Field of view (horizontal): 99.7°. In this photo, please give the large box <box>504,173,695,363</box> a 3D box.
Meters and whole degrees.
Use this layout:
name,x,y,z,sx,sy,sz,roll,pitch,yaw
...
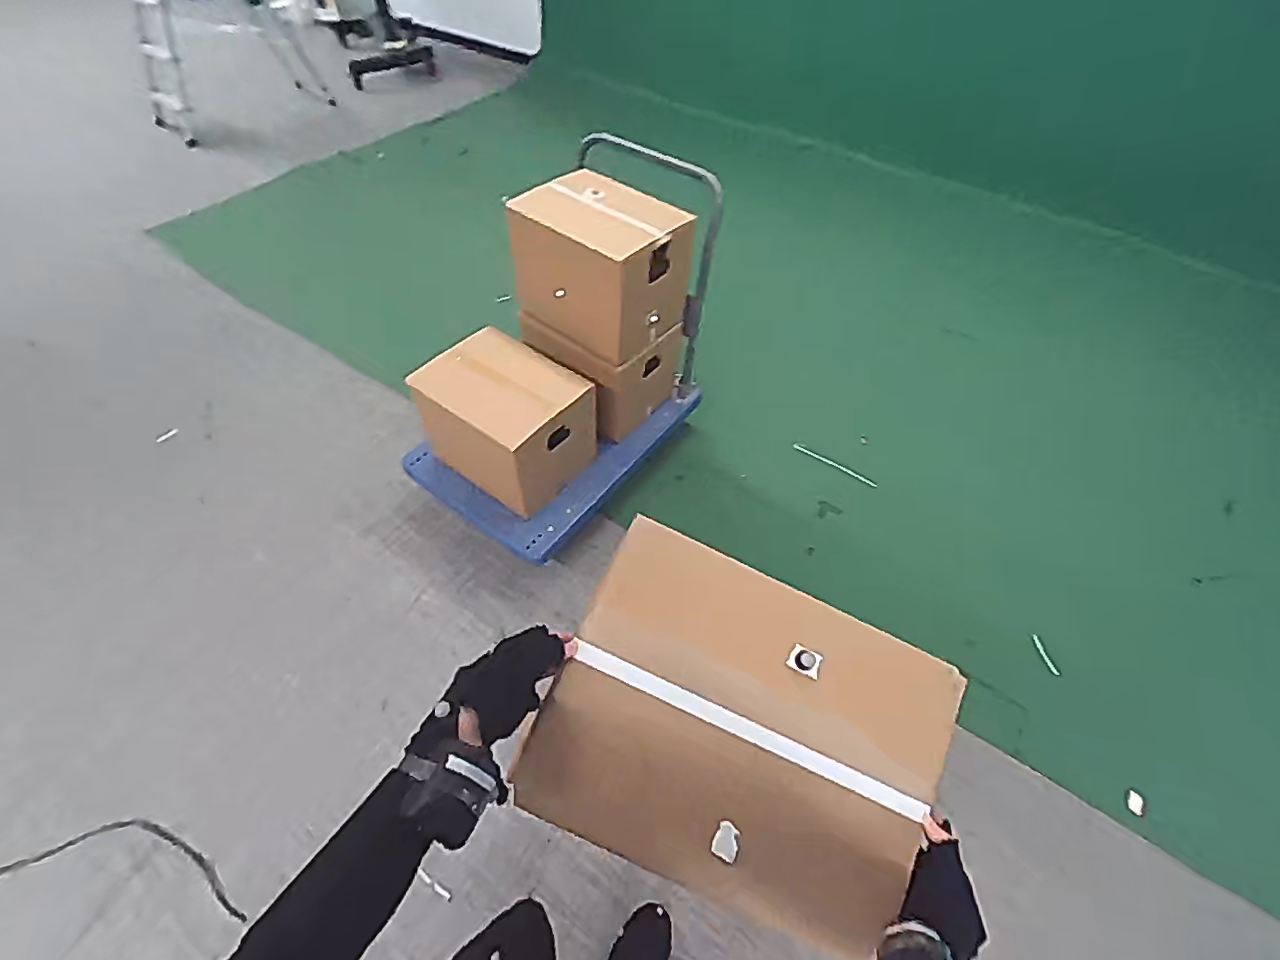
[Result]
name,x,y,z,sx,sy,sz,roll,pitch,yaw
large box,-0.106,-0.593,1.506,0.408,0.320,0.320,33,56,22
